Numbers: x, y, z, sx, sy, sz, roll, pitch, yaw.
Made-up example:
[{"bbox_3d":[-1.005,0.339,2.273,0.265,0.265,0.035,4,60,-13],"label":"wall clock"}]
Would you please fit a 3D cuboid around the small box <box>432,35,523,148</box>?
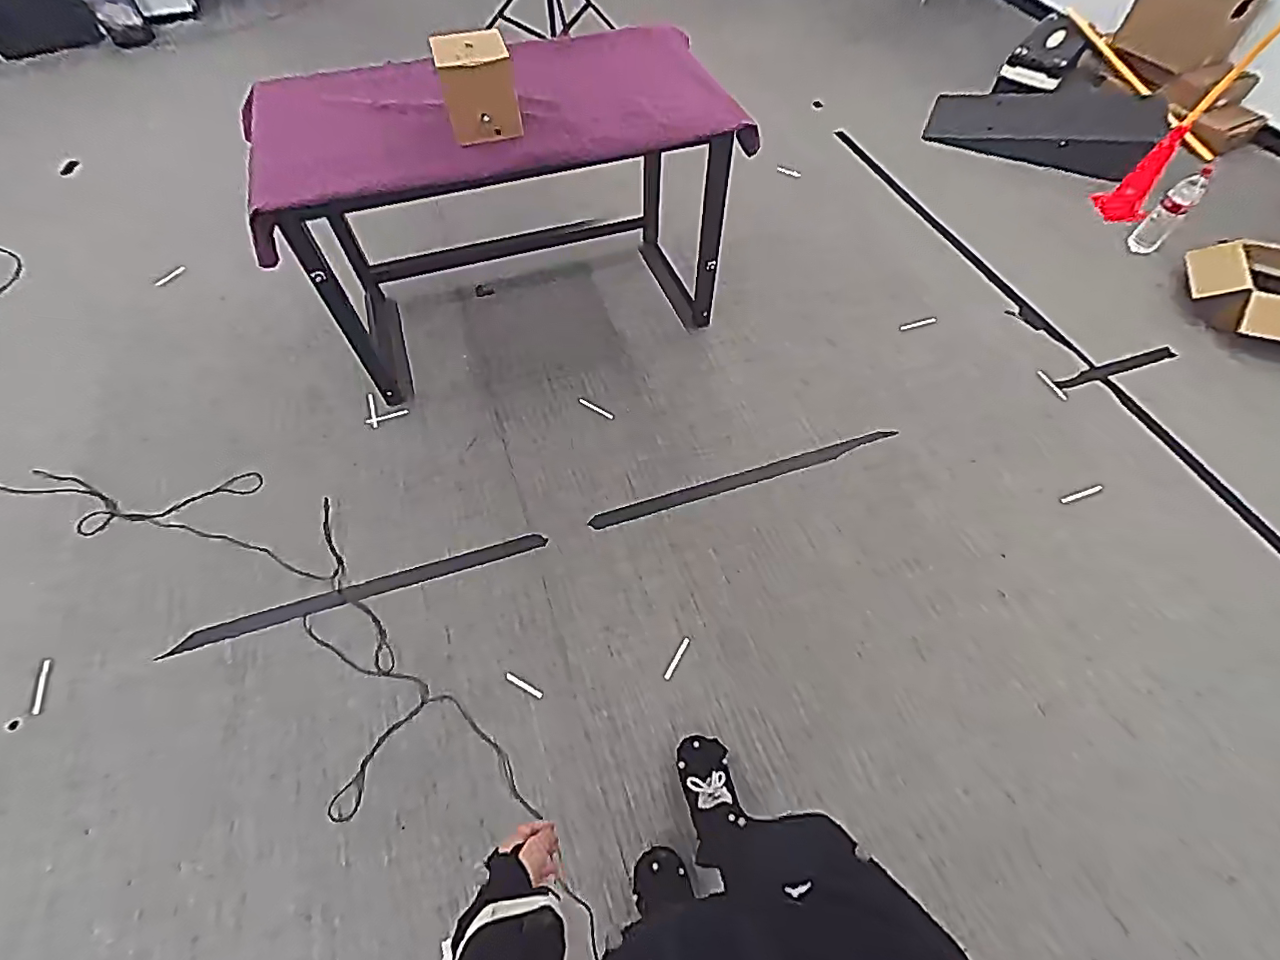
[{"bbox_3d":[-0.391,-0.943,1.316,0.168,0.176,0.179,-15,59,-8],"label":"small box"}]
